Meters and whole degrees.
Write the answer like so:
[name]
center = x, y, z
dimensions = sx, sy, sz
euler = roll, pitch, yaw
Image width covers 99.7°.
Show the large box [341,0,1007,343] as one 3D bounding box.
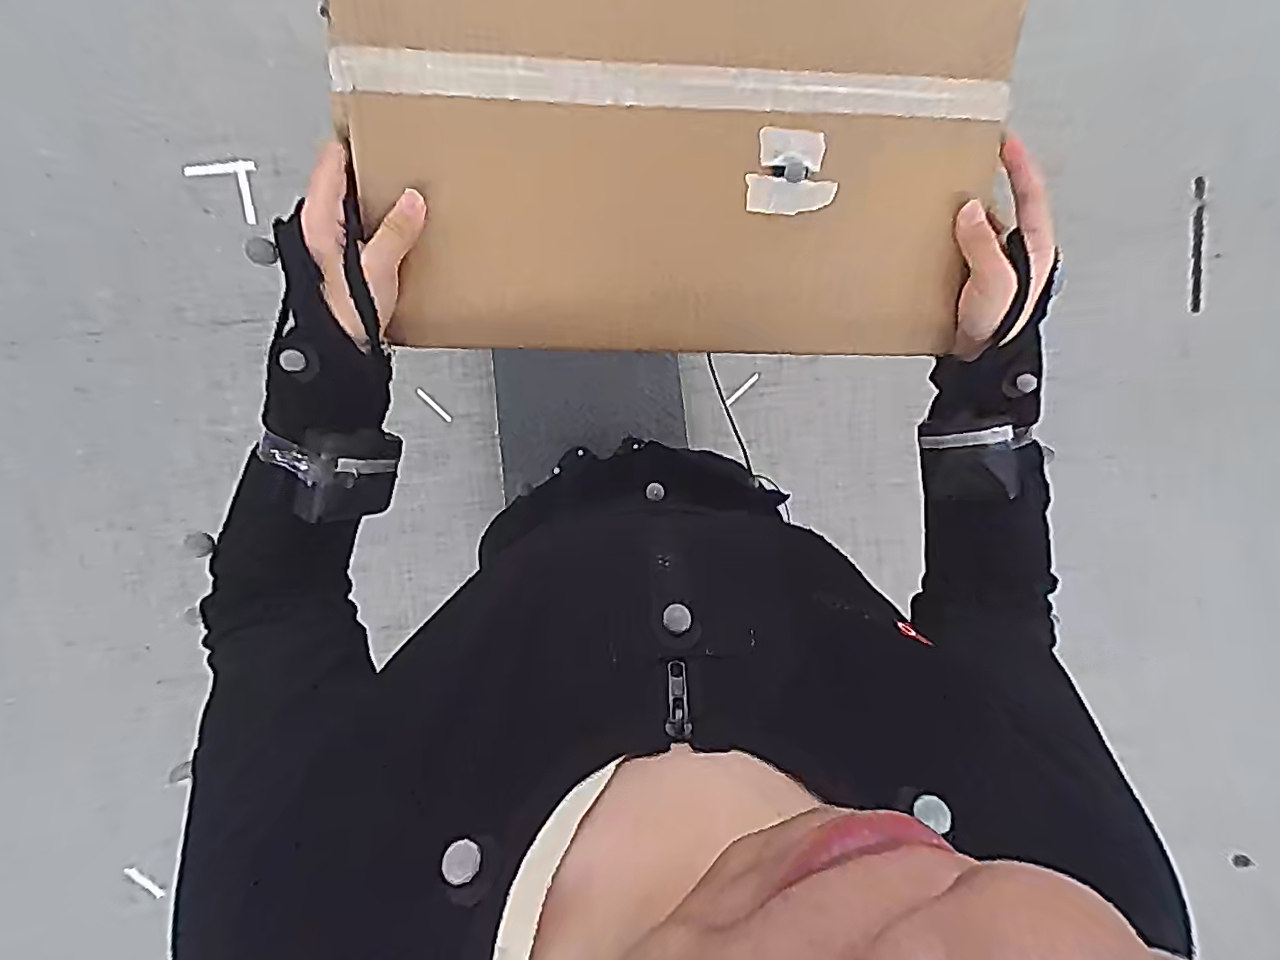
[large box]
center = 0.012, -0.294, 0.474
dimensions = 0.408, 0.320, 0.320
euler = -1, 110, -5
